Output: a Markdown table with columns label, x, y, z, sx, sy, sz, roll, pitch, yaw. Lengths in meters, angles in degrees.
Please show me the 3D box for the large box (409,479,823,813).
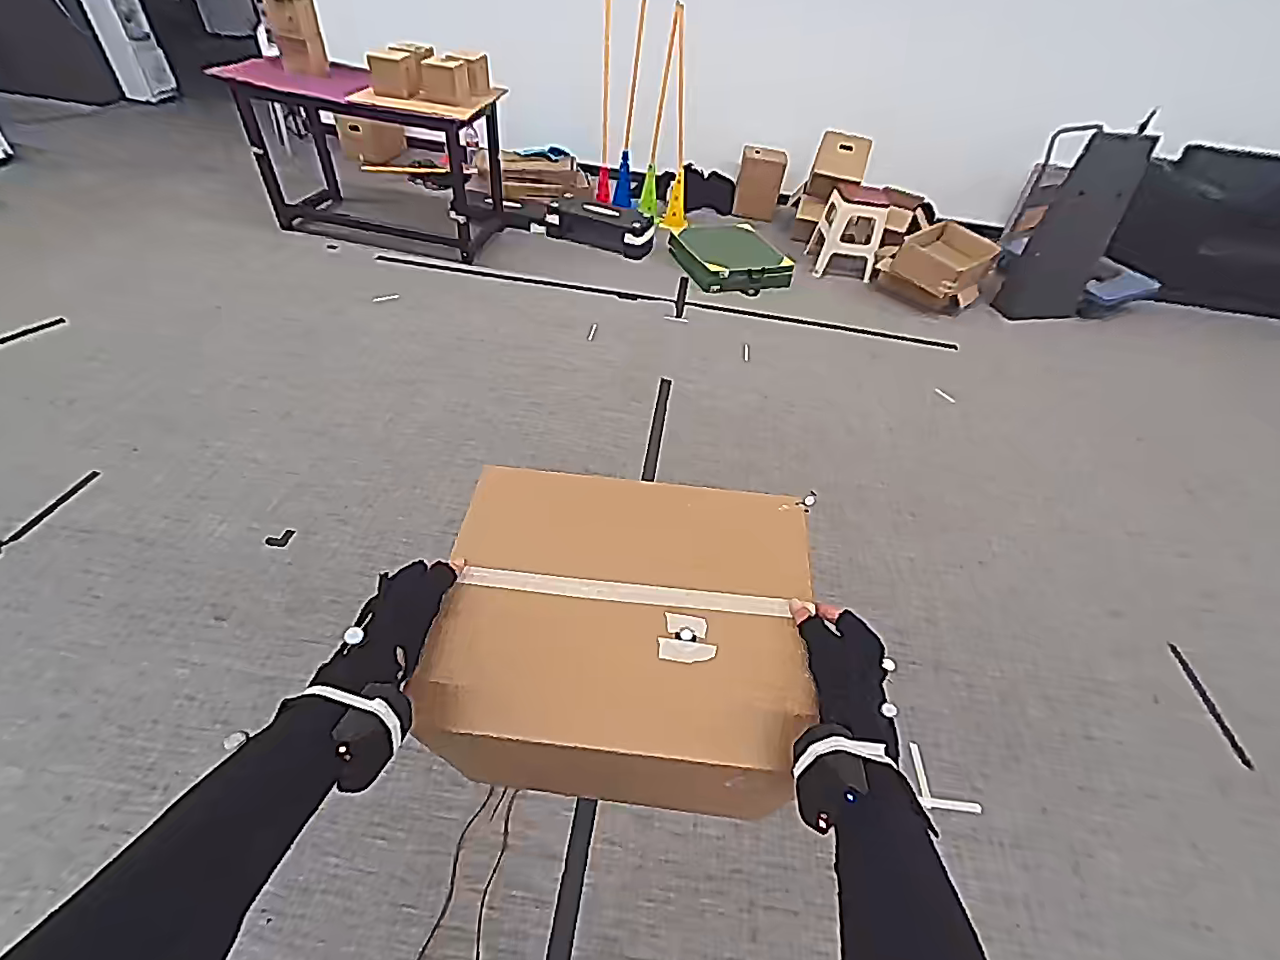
| label | x | y | z | sx | sy | sz | roll | pitch | yaw |
| --- | --- | --- | --- | --- | --- | --- | --- | --- | --- |
| large box | -0.019 | 0.226 | 0.716 | 0.408 | 0.320 | 0.320 | 6 | 52 | 2 |
